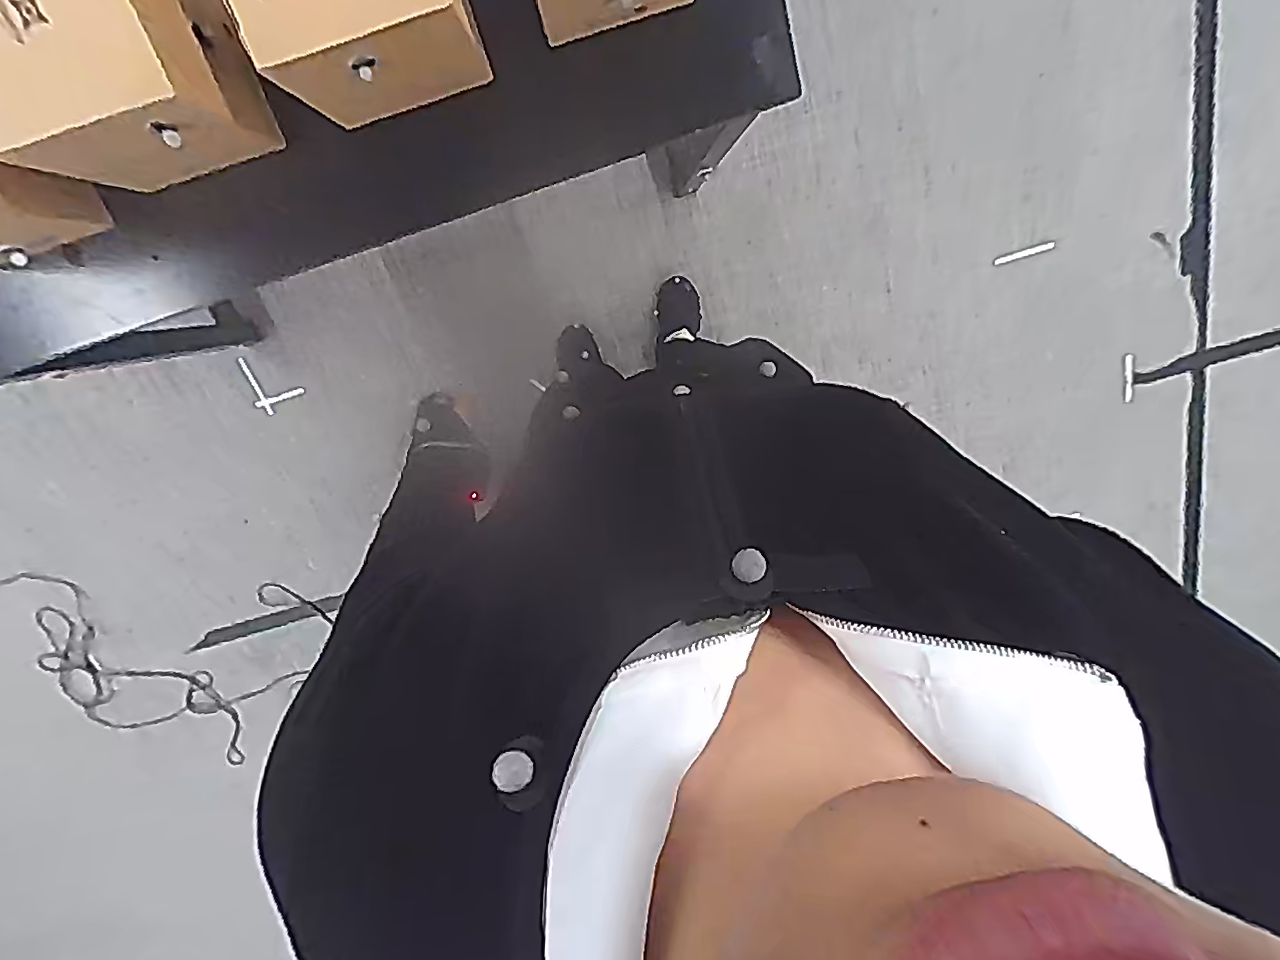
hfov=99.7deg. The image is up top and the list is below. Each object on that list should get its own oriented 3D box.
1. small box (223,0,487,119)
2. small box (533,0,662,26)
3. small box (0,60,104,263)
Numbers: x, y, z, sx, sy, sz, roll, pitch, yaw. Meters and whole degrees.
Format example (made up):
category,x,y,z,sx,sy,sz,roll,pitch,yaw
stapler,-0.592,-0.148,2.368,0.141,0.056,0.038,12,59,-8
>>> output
category,x,y,z,sx,sy,sz,roll,pitch,yaw
small box,-0.262,-0.461,0.488,0.179,0.176,0.168,-17,109,2
small box,-0.041,-0.541,0.471,0.168,0.176,0.179,-16,110,2
small box,-0.700,-0.319,0.516,0.168,0.176,0.179,-17,110,4
